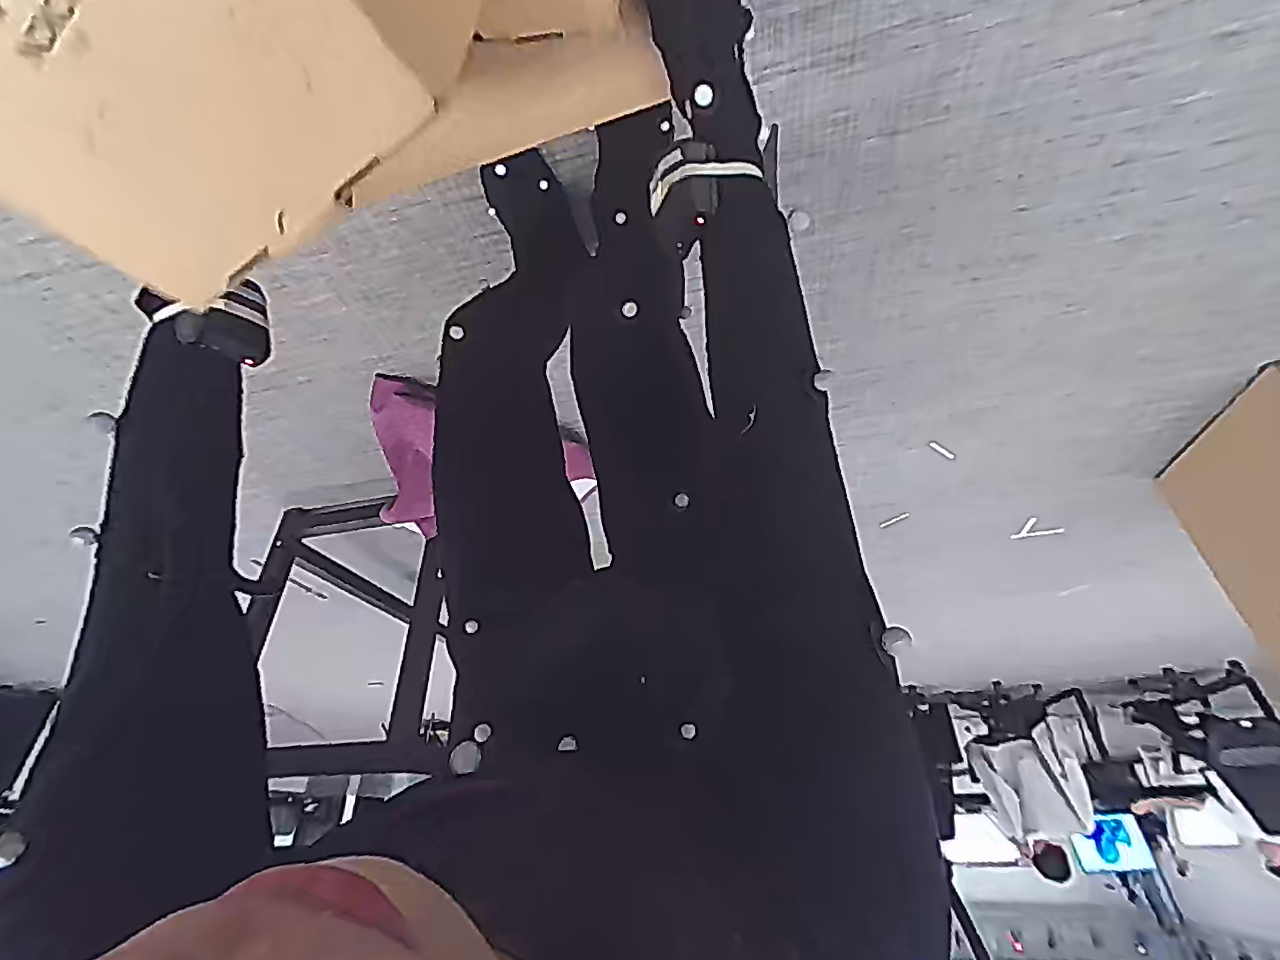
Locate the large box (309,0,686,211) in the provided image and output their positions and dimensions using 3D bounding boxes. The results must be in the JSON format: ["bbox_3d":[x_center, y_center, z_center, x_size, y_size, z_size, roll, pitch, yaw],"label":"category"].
[{"bbox_3d":[-0.199,-0.518,0.476,0.408,0.320,0.320,-12,146,13],"label":"large box"}]

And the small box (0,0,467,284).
[{"bbox_3d":[-0.177,-0.217,0.195,0.168,0.176,0.179,-19,143,24],"label":"small box"}]
